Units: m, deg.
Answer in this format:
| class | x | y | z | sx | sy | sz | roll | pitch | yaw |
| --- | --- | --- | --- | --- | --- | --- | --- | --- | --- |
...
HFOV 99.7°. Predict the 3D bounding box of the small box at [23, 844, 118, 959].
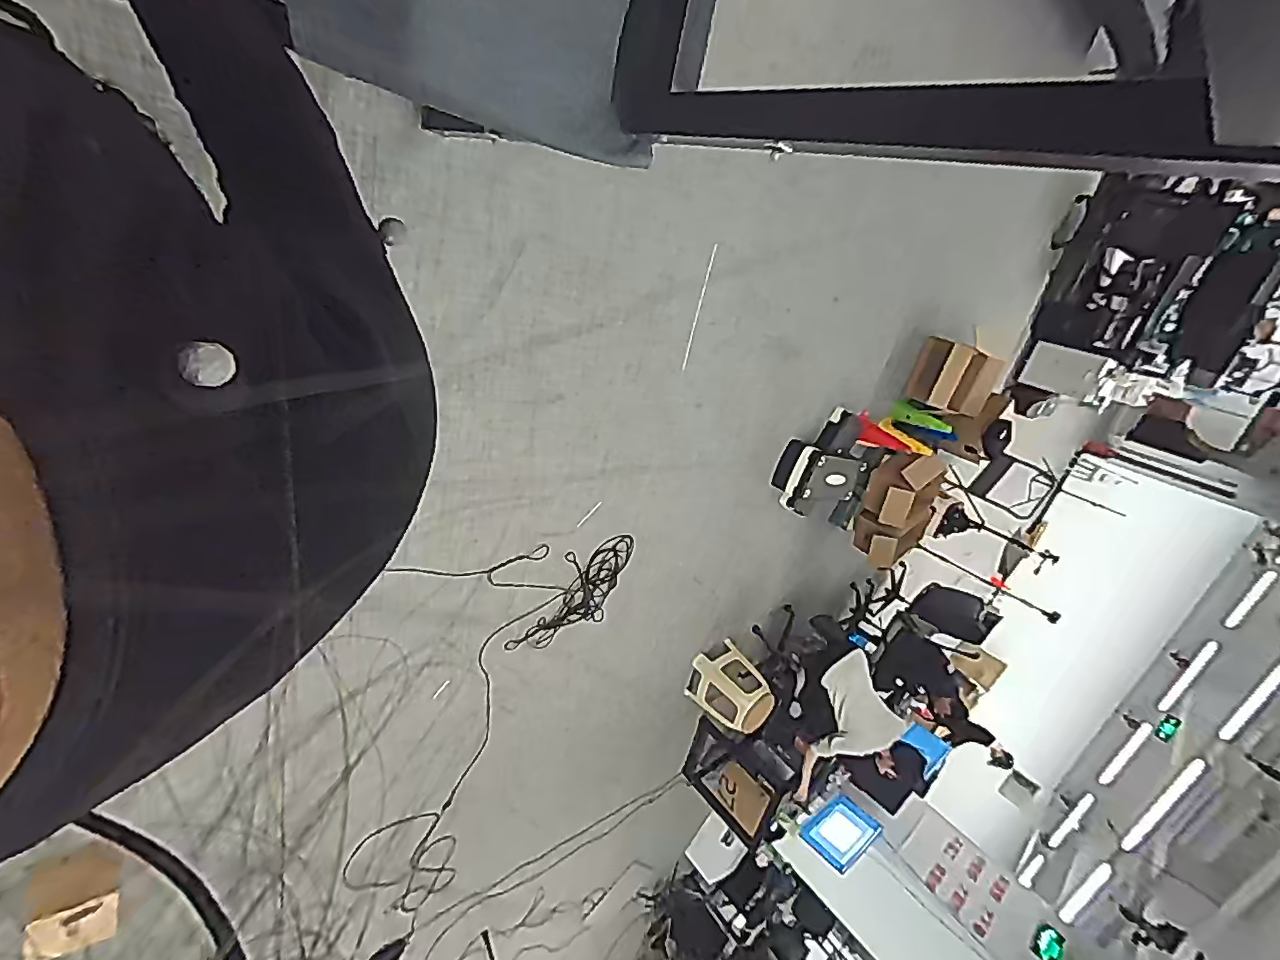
| class | x | y | z | sx | sy | sz | roll | pitch | yaw |
| --- | --- | --- | --- | --- | --- | --- | --- | --- | --- |
| small box | -1.509 | 1.113 | 1.436 | 0.168 | 0.176 | 0.179 | 3 | 114 | -45 |
